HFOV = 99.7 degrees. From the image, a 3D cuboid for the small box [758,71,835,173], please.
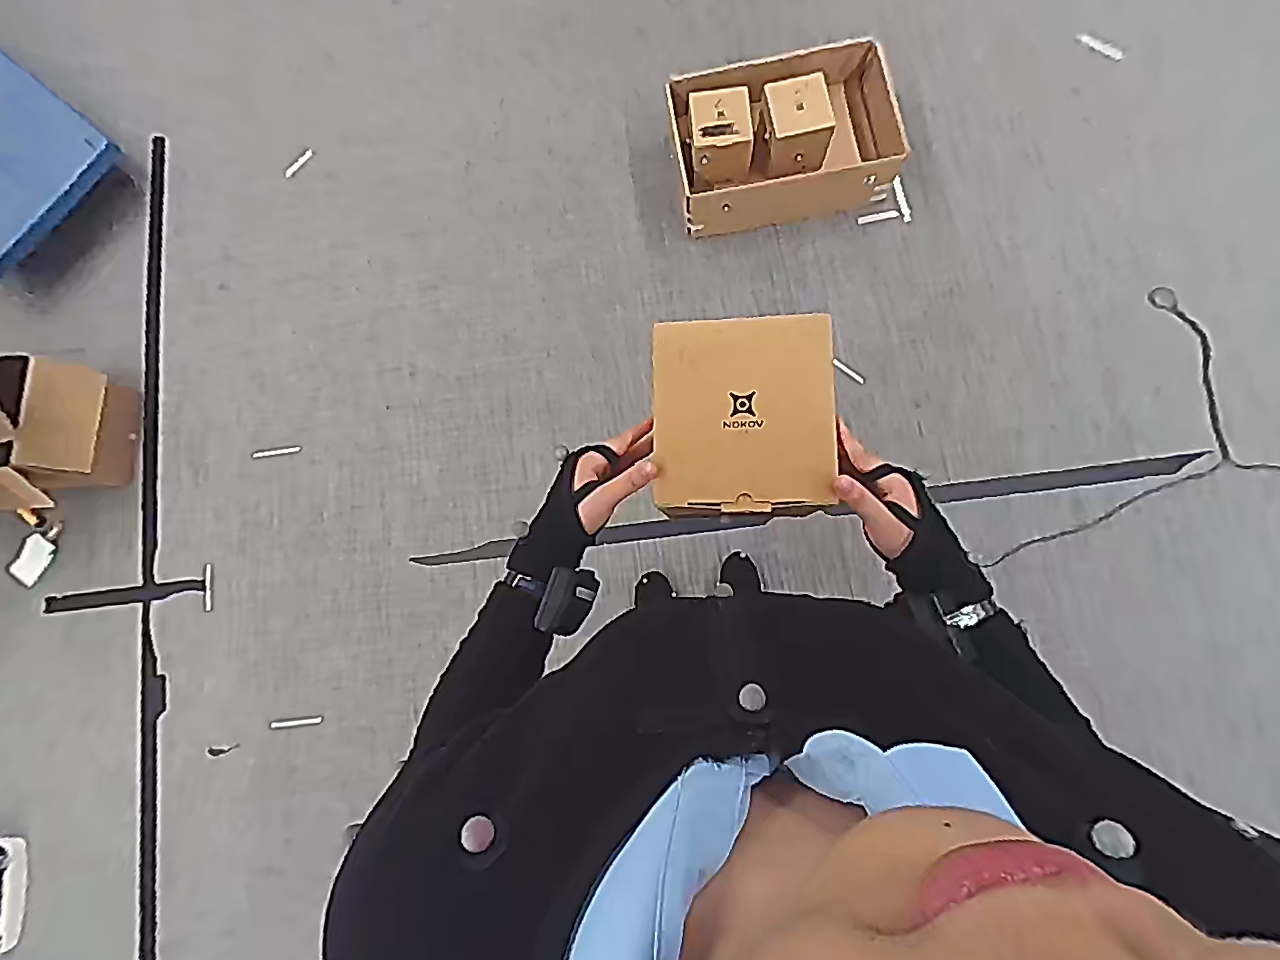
[{"bbox_3d":[0.448,-1.024,1.567,0.168,0.176,0.179,-10,80,3],"label":"small box"}]
